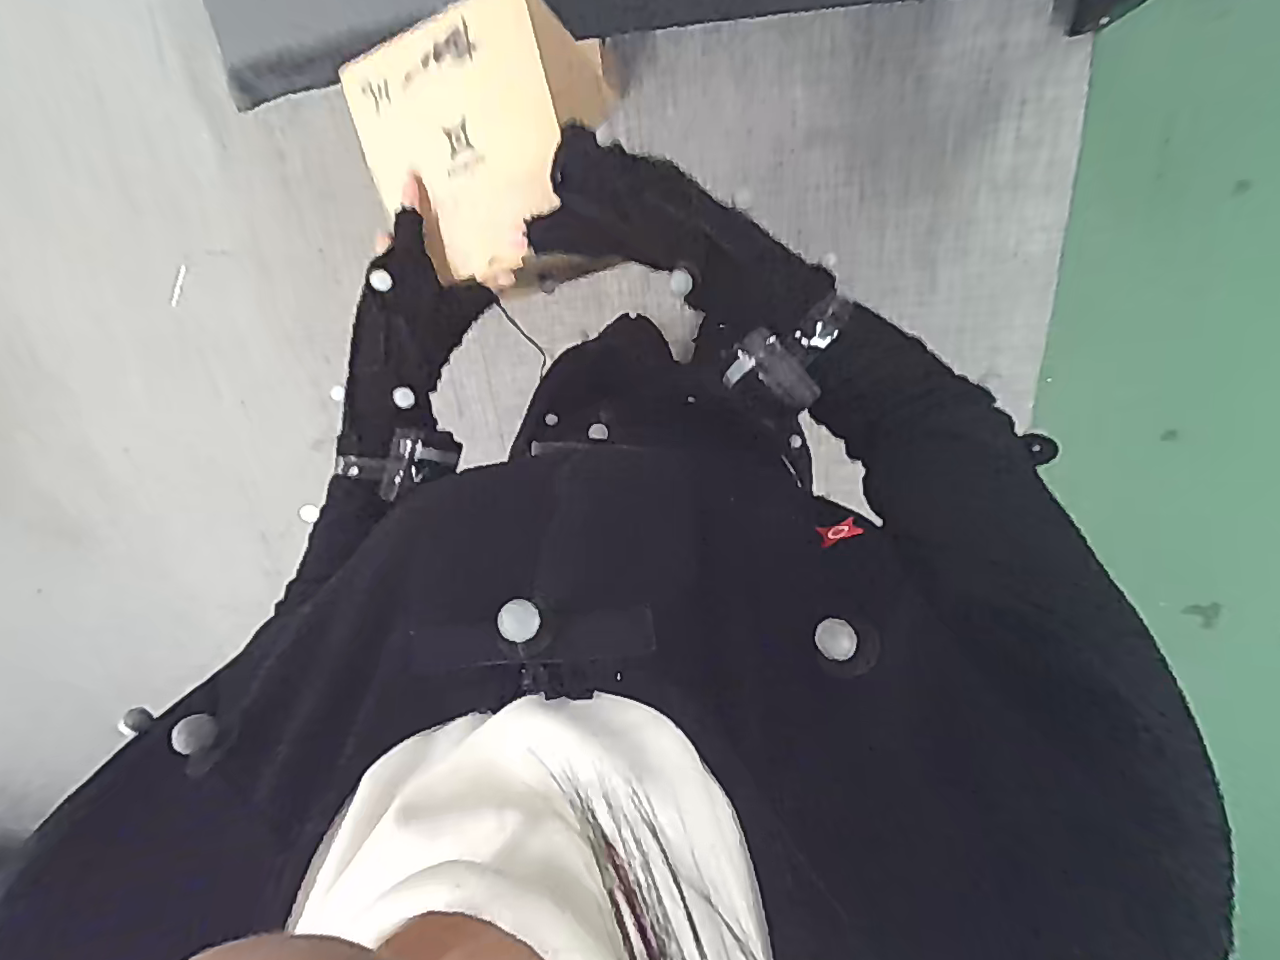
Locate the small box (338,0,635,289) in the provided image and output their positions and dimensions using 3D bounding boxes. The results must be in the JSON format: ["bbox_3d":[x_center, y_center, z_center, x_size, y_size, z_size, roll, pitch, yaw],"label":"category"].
[{"bbox_3d":[-0.116,-0.282,0.484,0.168,0.176,0.179,-10,105,18],"label":"small box"}]
